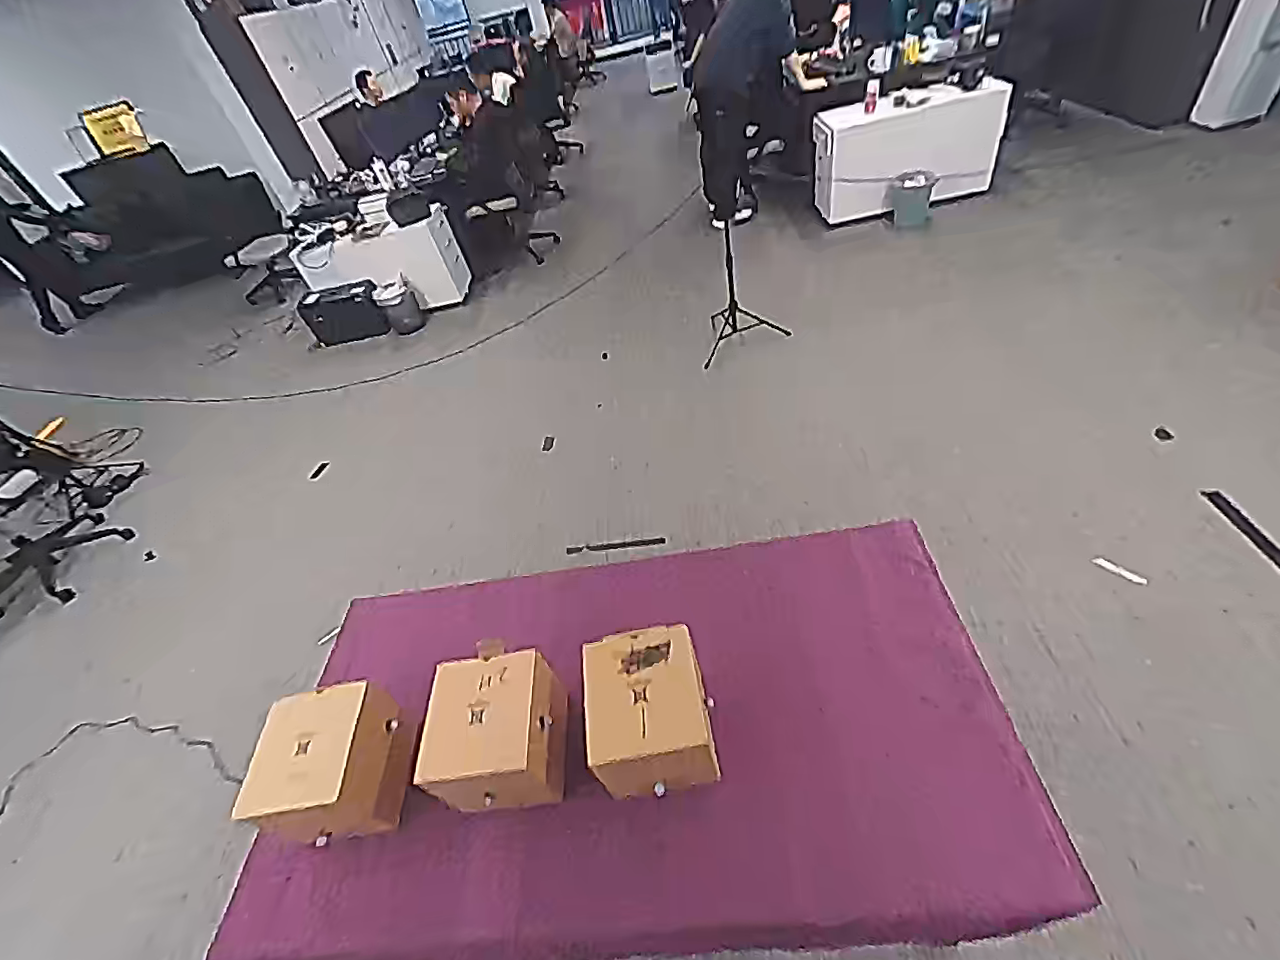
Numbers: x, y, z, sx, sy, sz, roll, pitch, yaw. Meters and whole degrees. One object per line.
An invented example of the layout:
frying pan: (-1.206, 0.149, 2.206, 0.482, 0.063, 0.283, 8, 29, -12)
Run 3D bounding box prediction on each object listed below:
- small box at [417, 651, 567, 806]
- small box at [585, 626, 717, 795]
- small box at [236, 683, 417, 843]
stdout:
small box: (-0.220, 0.399, 0.857, 0.168, 0.176, 0.179, -10, 44, 6)
small box: (0.017, 0.356, 0.832, 0.168, 0.176, 0.179, -13, 45, 4)
small box: (-0.487, 0.458, 0.876, 0.168, 0.176, 0.179, -12, 44, 5)
